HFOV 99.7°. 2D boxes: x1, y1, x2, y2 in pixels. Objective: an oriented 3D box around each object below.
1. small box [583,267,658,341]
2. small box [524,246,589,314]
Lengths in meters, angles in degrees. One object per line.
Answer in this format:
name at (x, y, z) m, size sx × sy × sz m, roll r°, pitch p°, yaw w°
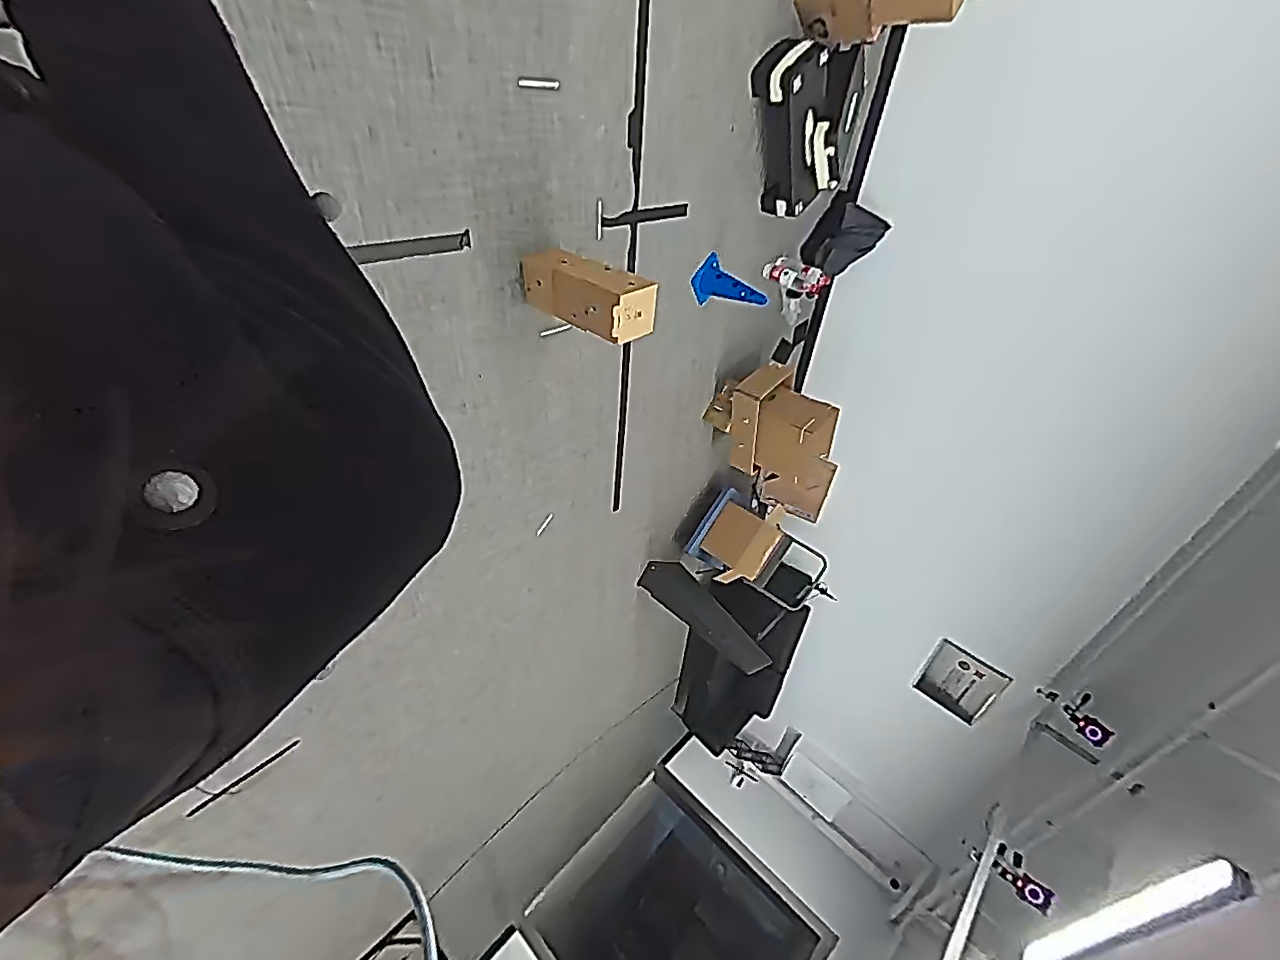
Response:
small box at (-0.065, -0.578, 1.756) m, size 0.179 × 0.176 × 0.168 m, roll -31°, pitch 142°, yaw -36°
small box at (-0.300, -0.722, 1.941) m, size 0.179 × 0.176 × 0.168 m, roll -34°, pitch 143°, yaw -34°
